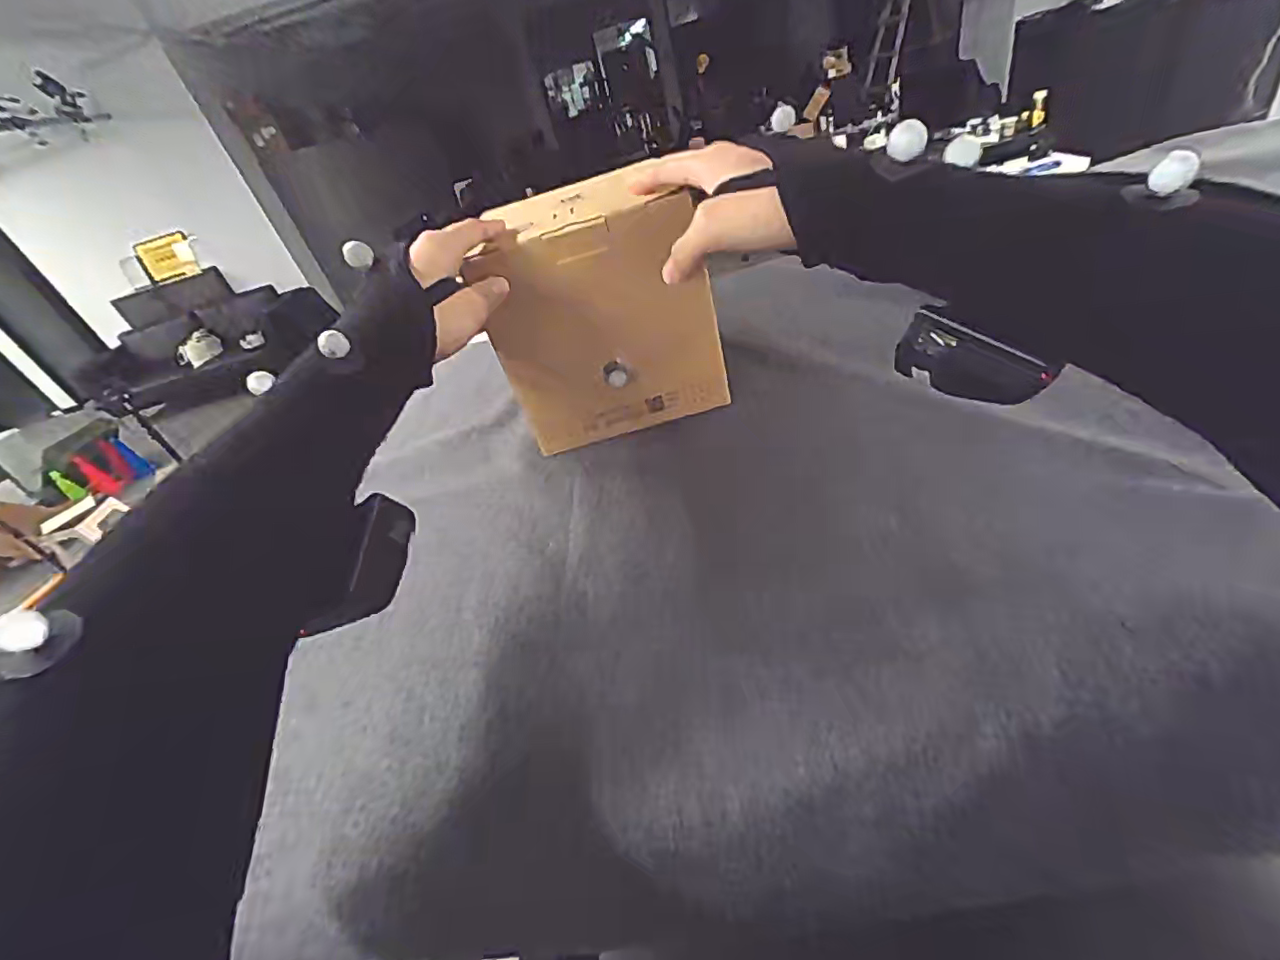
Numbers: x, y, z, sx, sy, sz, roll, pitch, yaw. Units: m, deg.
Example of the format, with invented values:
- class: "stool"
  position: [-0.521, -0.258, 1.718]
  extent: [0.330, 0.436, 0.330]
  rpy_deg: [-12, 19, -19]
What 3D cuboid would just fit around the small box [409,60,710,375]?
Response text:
- class: "small box"
  position: [-0.050, -0.207, 0.432]
  extent: [0.168, 0.176, 0.179]
  rpy_deg: [-15, 37, 3]
